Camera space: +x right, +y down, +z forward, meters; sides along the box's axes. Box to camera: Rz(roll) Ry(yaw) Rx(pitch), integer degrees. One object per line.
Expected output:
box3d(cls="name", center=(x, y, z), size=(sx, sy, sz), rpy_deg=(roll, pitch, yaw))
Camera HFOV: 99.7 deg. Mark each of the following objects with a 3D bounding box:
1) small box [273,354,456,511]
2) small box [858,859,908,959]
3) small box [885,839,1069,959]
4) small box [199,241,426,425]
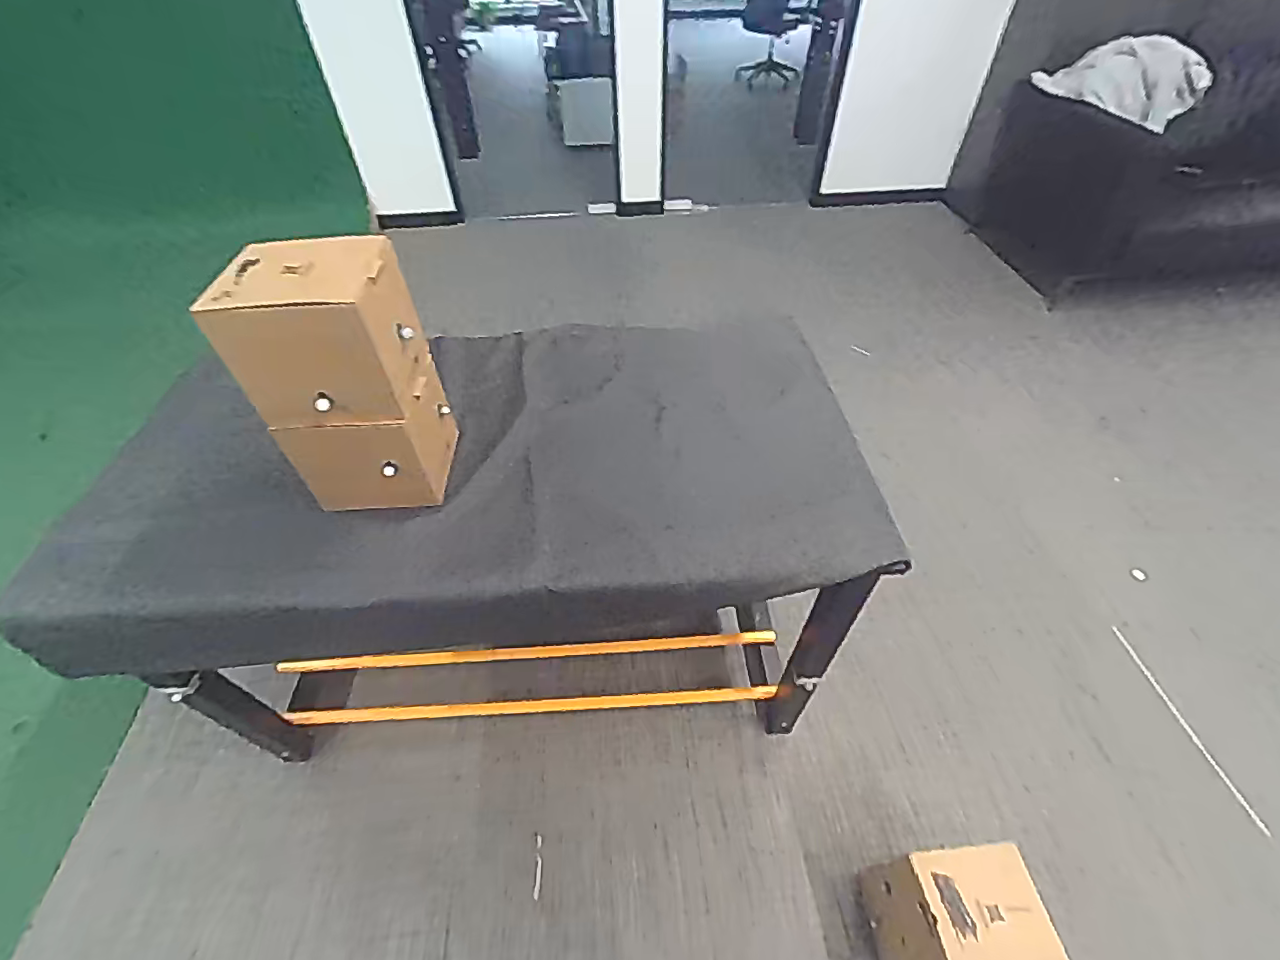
box3d(cls="small box", center=(-0.390, -0.069, 0.810), size=(0.179, 0.176, 0.168), rpy_deg=(-4, 46, -2))
box3d(cls="small box", center=(0.528, 0.798, 0.984), size=(0.179, 0.176, 0.168), rpy_deg=(-2, 47, -2))
box3d(cls="small box", center=(0.514, 0.691, 0.860), size=(0.179, 0.176, 0.168), rpy_deg=(-4, 48, -4))
box3d(cls="small box", center=(-0.394, -0.187, 0.695), size=(0.179, 0.176, 0.168), rpy_deg=(-4, 47, -3))
